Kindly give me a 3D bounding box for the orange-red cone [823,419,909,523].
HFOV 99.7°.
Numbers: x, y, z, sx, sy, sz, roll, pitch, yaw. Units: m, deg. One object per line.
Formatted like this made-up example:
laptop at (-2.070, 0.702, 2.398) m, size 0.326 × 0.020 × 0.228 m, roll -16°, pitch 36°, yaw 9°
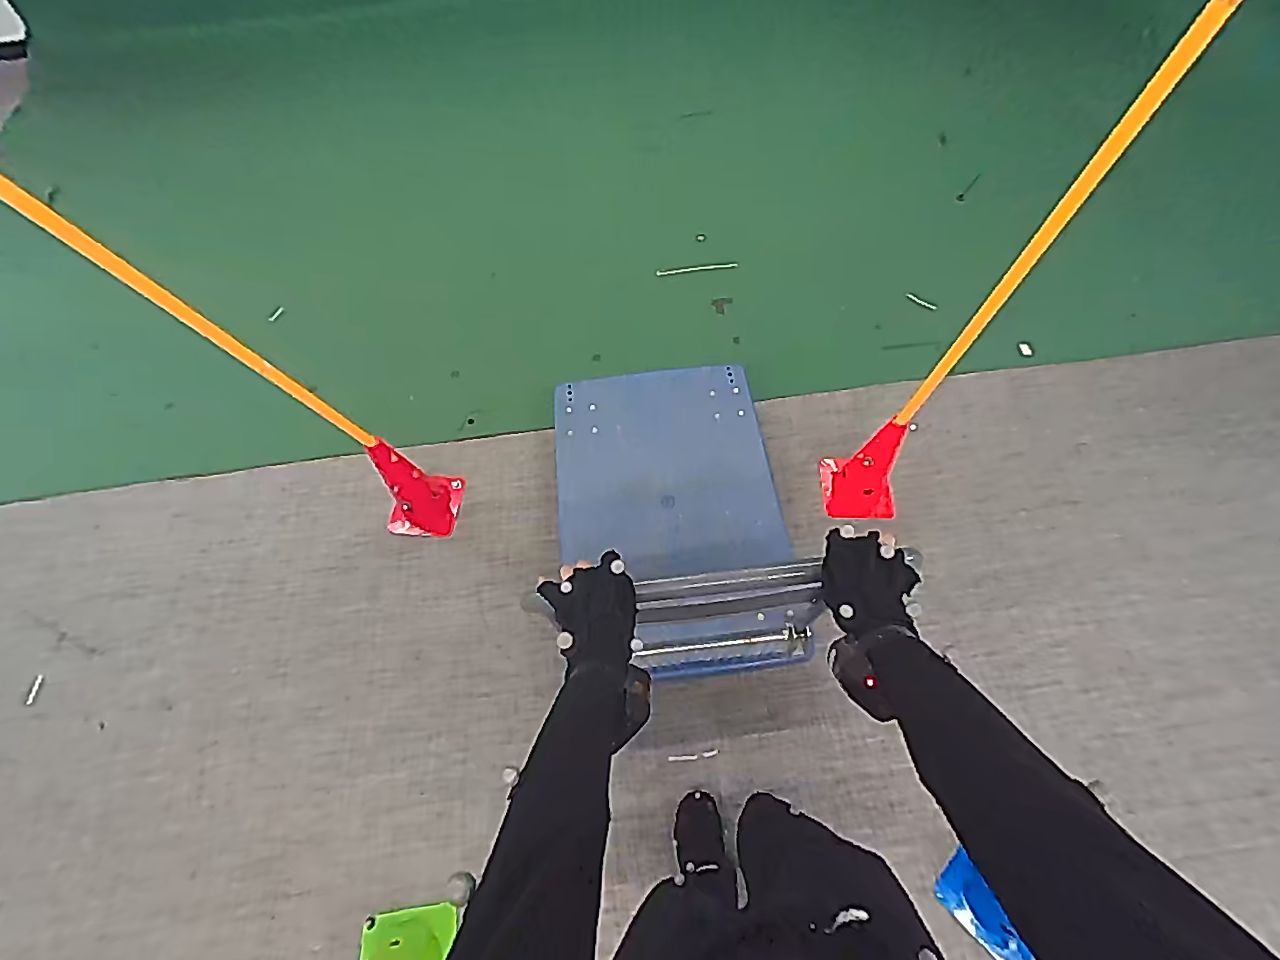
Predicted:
orange-red cone at (0.640, -0.046, 1.455) m, size 0.198 × 0.360 × 0.199 m, roll 2°, pitch 62°, yaw 5°
